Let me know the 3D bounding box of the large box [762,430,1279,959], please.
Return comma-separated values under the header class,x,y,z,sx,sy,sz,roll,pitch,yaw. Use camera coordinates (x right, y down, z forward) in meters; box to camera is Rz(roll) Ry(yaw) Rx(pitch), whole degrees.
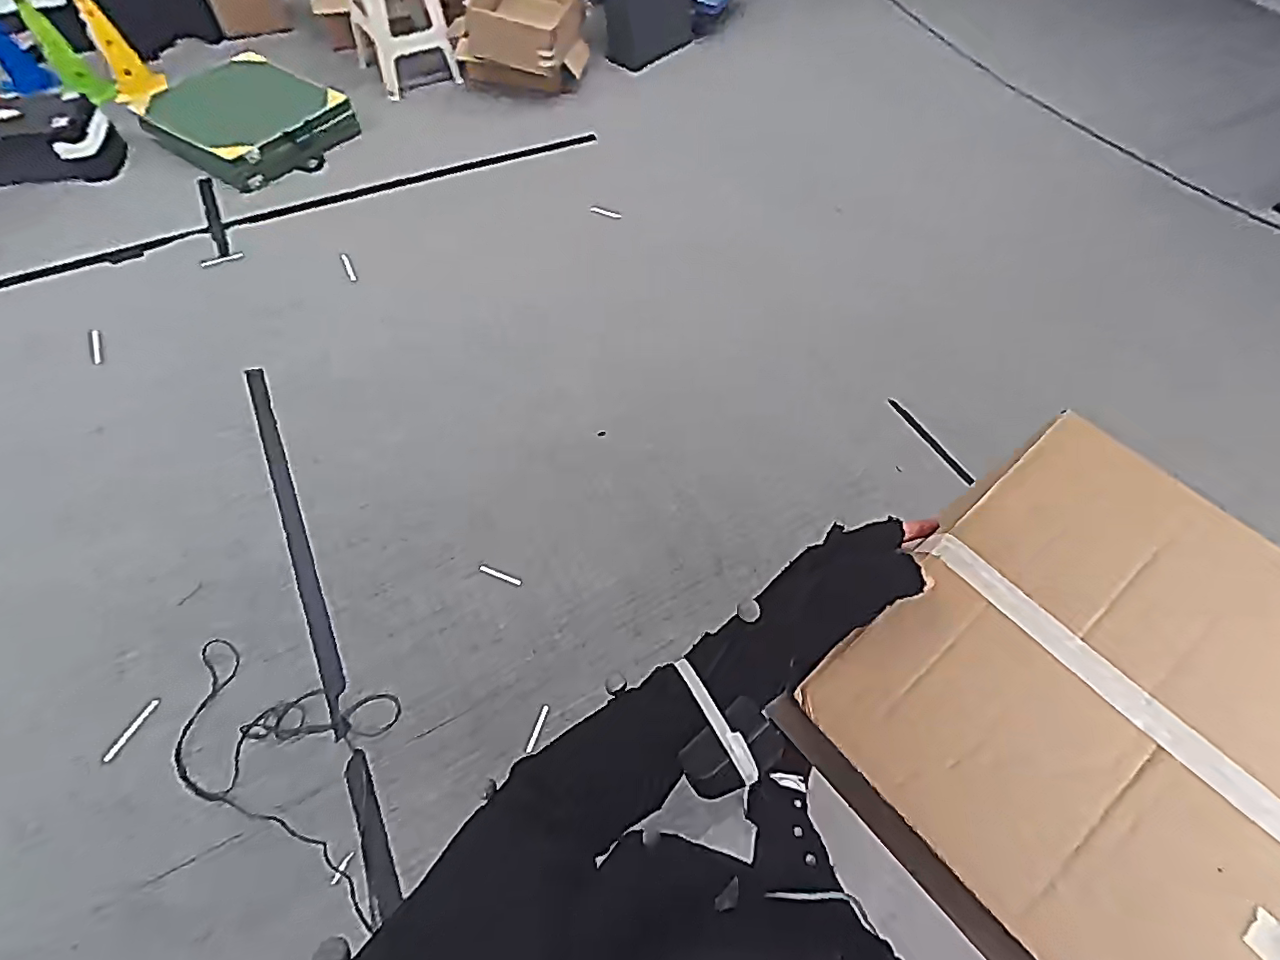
class,x,y,z,sx,sy,sz,roll,pitch,yaw
large box,0.368,0.238,0.476,0.320,0.320,0.408,-41,69,-9
